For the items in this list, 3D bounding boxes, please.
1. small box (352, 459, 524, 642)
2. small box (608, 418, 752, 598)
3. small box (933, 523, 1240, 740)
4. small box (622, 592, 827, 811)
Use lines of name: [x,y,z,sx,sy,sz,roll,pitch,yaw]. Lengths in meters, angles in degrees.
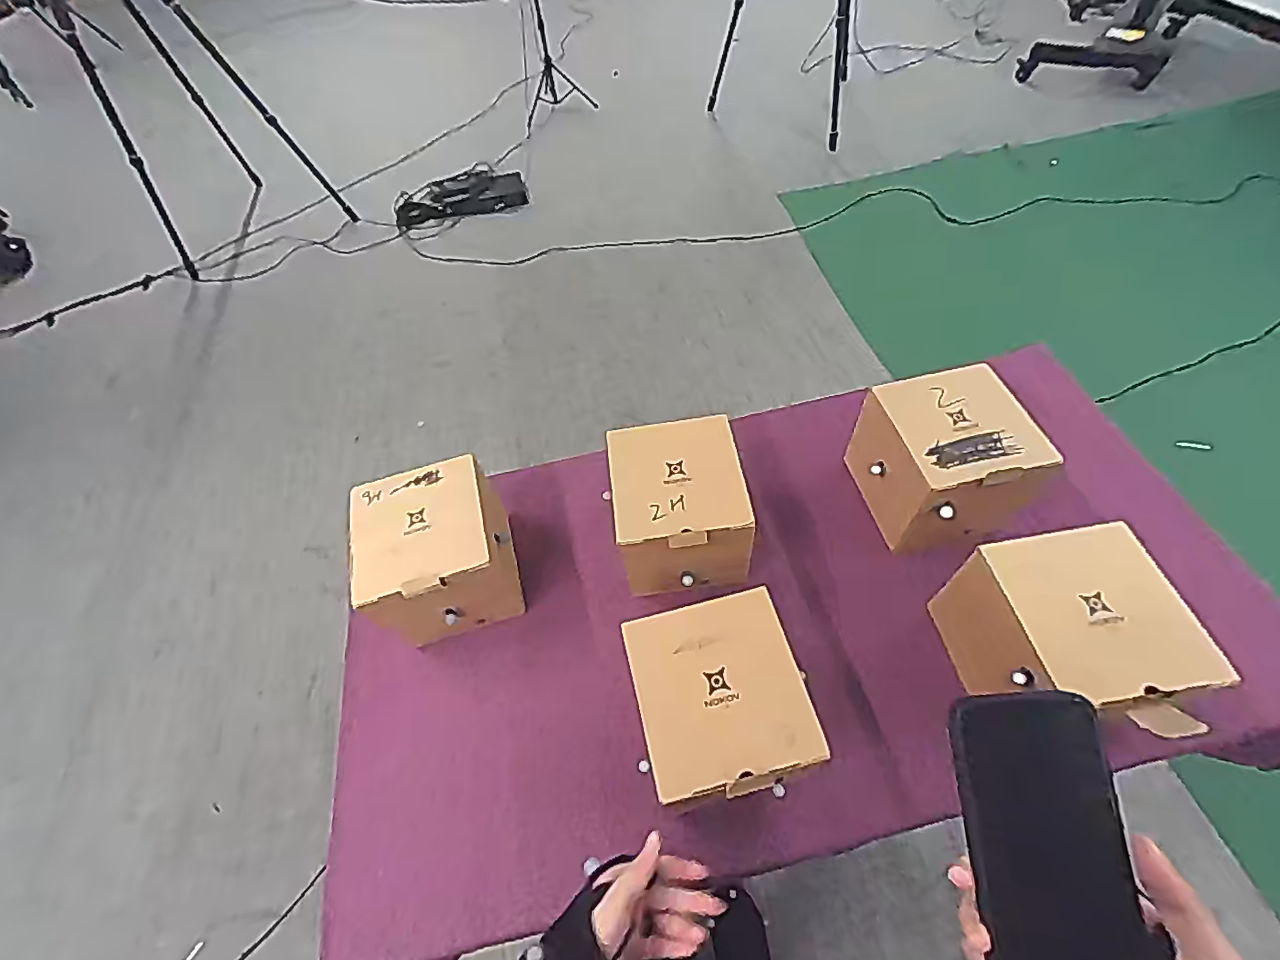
small box: [-0.269,0.106,0.739,0.168,0.176,0.179,-18,57,-5]
small box: [0.051,0.042,0.746,0.168,0.176,0.179,-9,56,1]
small box: [0.466,0.174,0.608,0.168,0.176,0.179,-10,56,0]
small box: [0.085,0.253,0.602,0.168,0.176,0.179,-14,55,-3]
